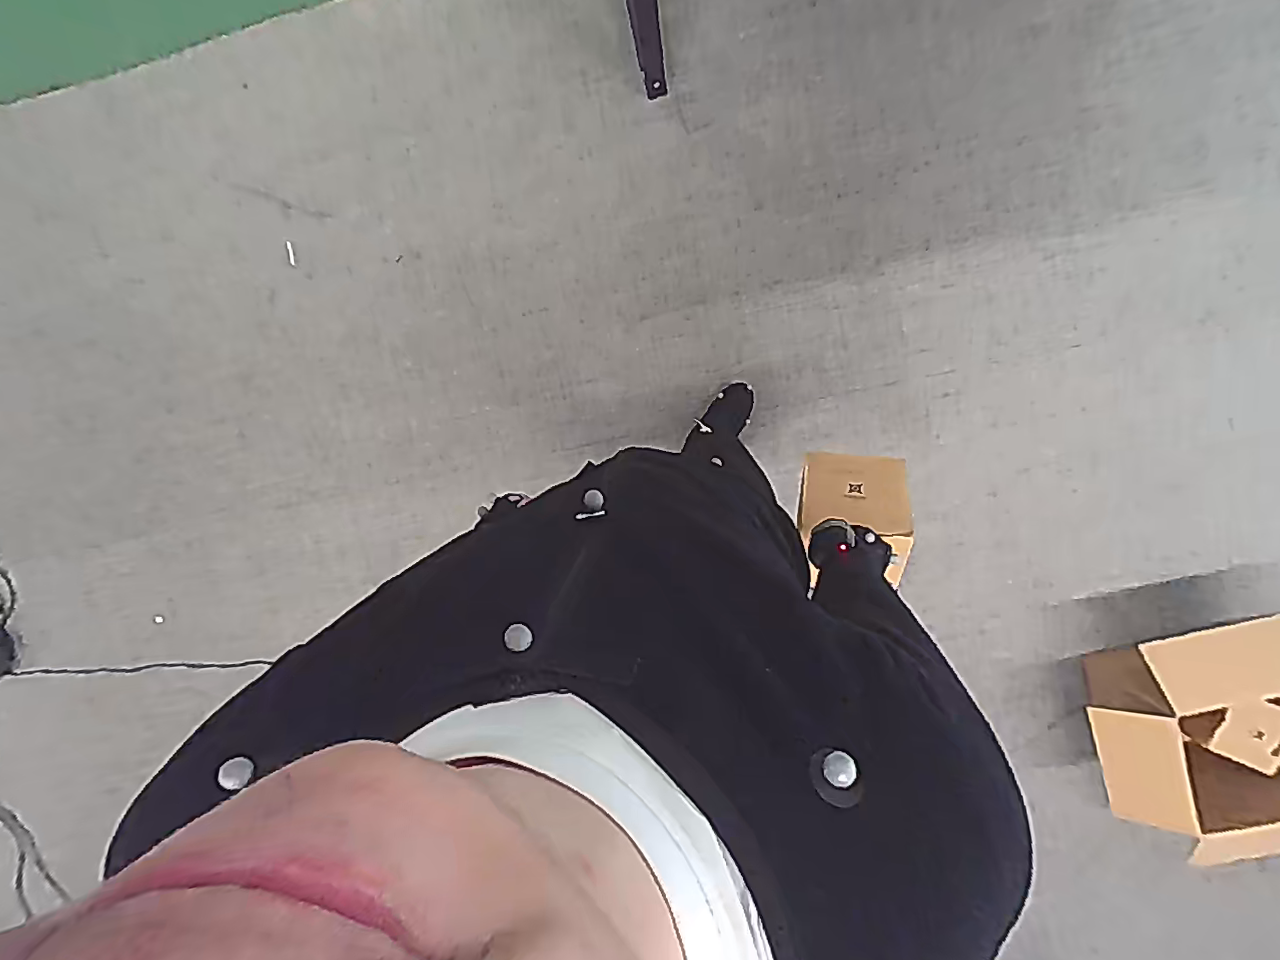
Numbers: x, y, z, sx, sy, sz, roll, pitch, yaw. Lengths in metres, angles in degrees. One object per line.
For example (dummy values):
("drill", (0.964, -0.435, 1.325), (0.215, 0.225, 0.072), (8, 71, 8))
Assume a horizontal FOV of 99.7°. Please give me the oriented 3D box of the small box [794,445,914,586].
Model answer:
("small box", (0.361, 0.063, 0.938), (0.168, 0.179, 0.176), (6, 137, 13))
